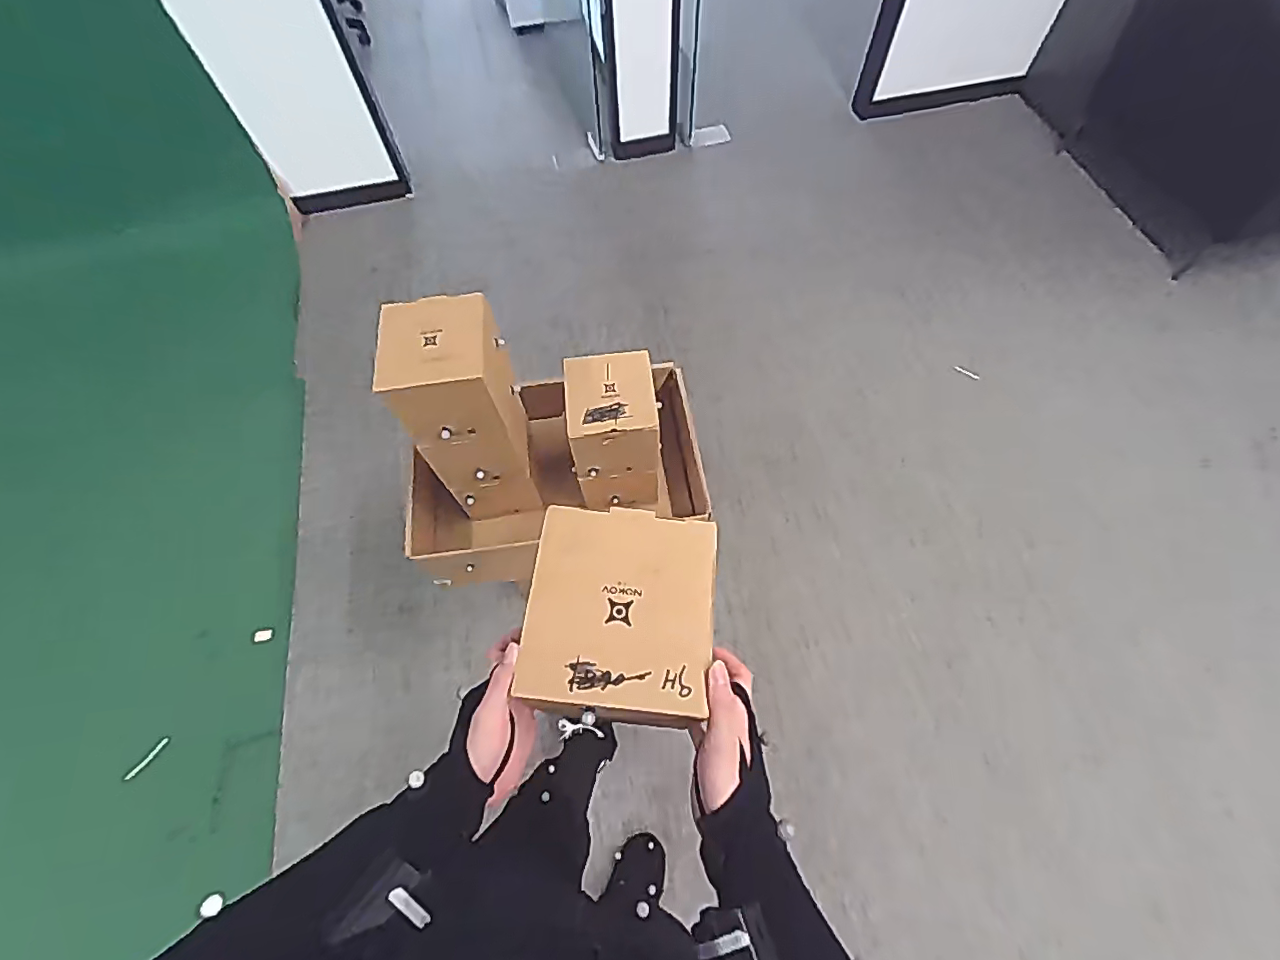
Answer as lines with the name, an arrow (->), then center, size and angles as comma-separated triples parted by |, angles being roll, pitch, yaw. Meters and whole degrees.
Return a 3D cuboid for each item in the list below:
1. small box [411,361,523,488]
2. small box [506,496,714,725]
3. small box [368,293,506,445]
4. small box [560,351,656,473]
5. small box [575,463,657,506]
small box -> -0.326, -0.105, 1.046 | 0.168, 0.176, 0.179 | -8, 63, -3
small box -> -0.022, 0.137, 0.543 | 0.168, 0.176, 0.179 | 6, 61, 2
small box -> -0.326, -0.180, 0.901 | 0.168, 0.176, 0.179 | -8, 63, -2
small box -> -0.059, -0.124, 1.051 | 0.168, 0.176, 0.179 | -6, 63, -2
small box -> -0.057, -0.049, 1.198 | 0.168, 0.176, 0.179 | -7, 64, -2
